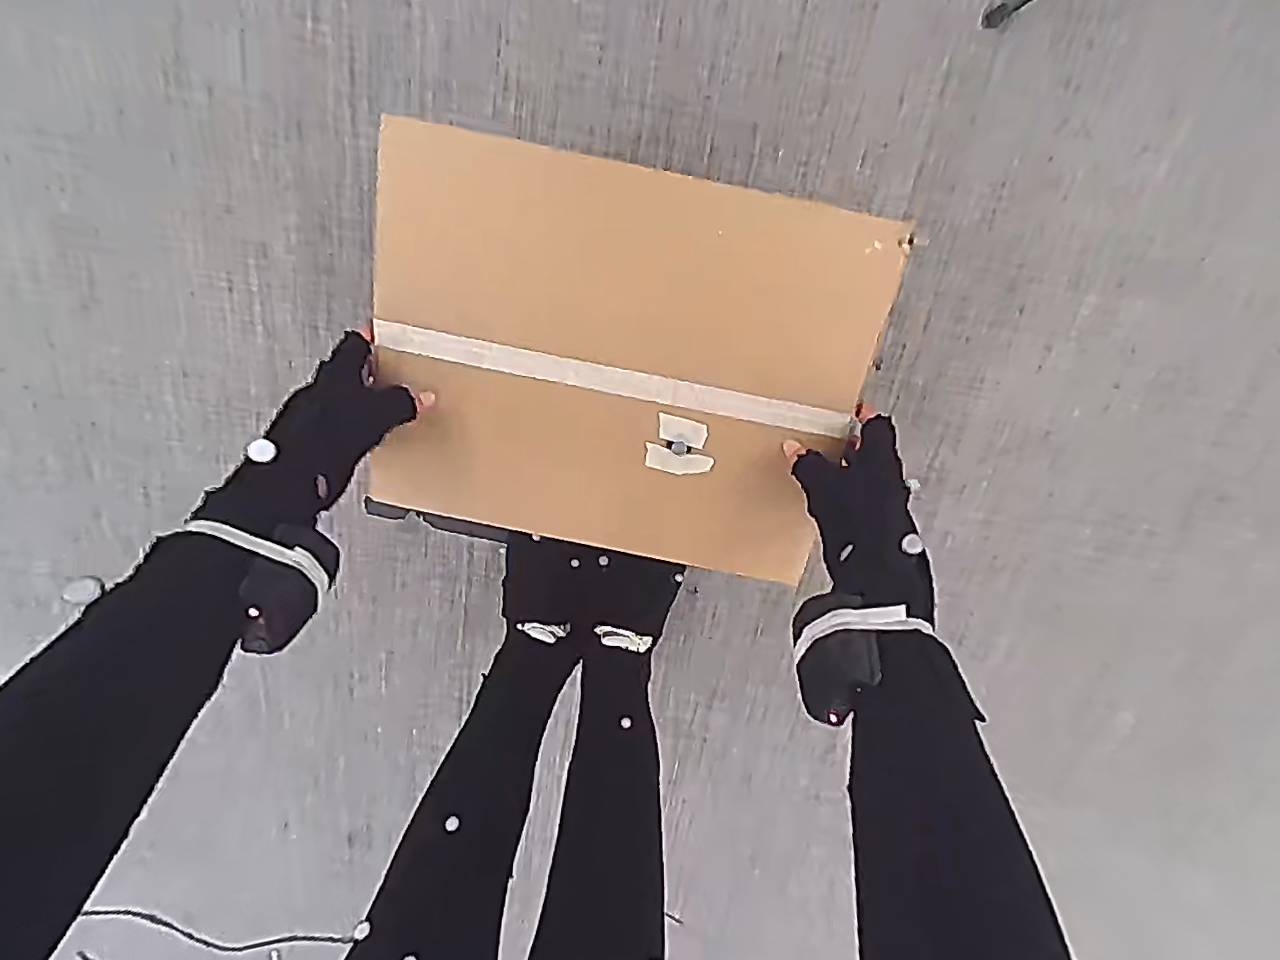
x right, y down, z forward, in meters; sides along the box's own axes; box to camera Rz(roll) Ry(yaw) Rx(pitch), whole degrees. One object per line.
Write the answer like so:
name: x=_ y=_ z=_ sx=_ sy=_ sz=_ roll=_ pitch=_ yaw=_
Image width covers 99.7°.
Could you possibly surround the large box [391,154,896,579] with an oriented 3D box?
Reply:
large box: x=-0.012 y=-0.125 z=0.610 sx=0.408 sy=0.320 sz=0.320 roll=11 pitch=109 yaw=-1
